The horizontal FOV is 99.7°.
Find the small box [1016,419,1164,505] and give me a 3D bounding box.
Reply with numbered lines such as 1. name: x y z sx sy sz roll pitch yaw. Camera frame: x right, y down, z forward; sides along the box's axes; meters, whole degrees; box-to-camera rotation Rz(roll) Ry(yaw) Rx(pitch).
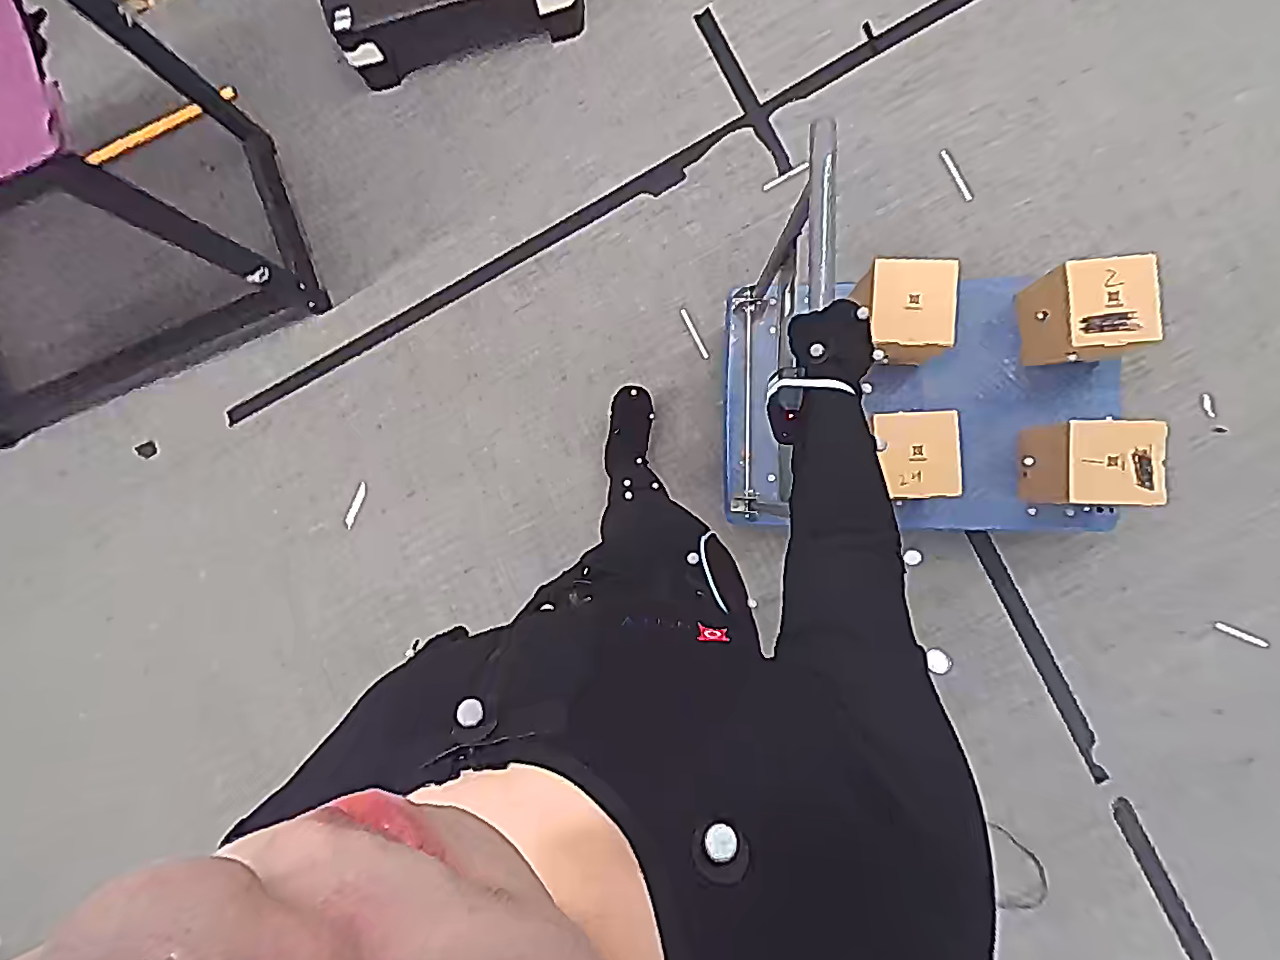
1. small box: 0.934 -0.036 1.134 0.179 0.176 0.168 2 89 6

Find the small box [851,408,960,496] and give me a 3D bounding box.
1. small box: 0.564 -0.054 1.168 0.168 0.176 0.179 -1 88 5

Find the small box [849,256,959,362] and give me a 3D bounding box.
1. small box: 0.565 -0.365 1.177 0.168 0.176 0.179 4 90 5
